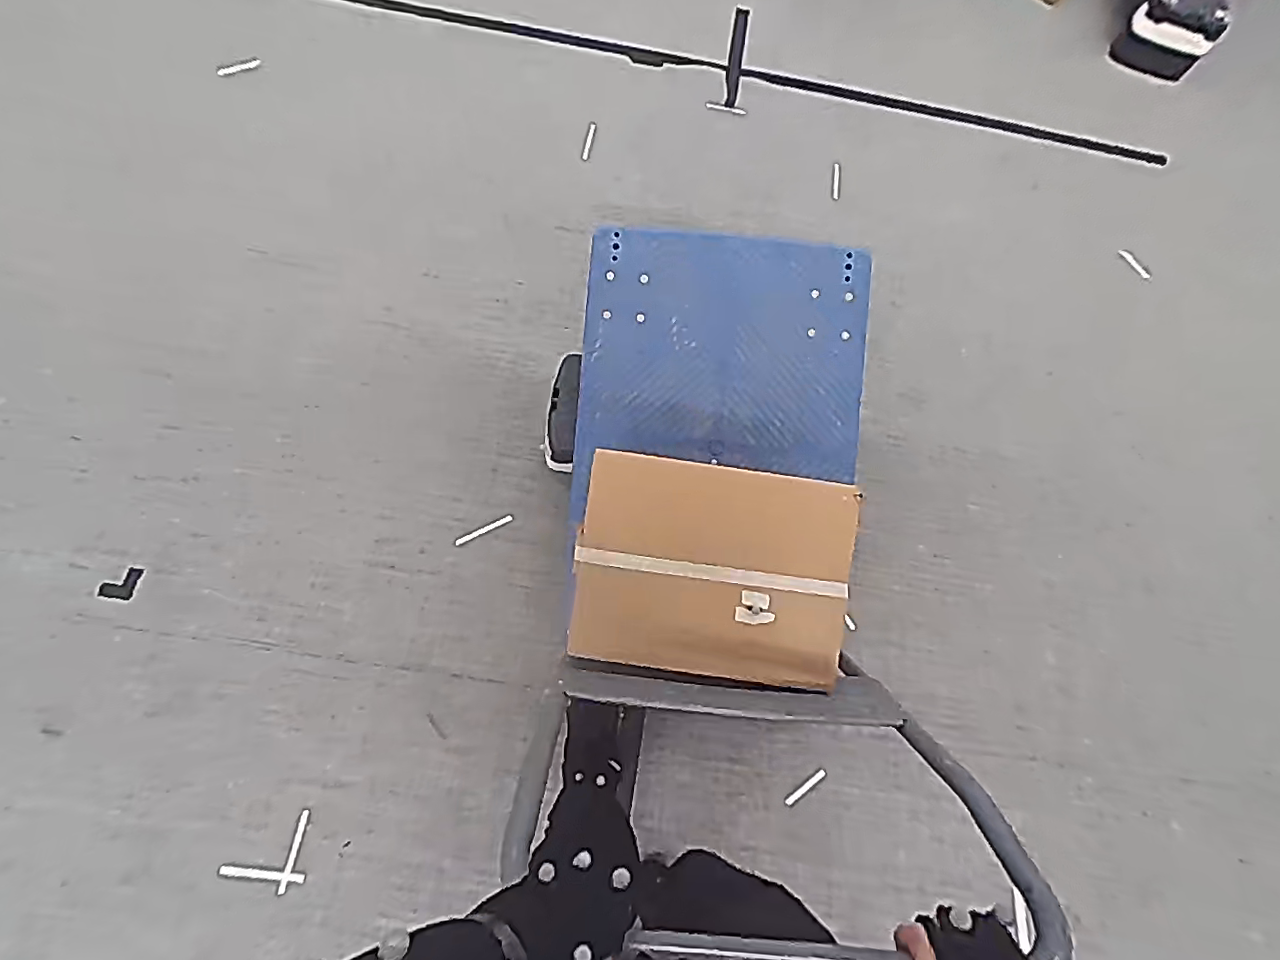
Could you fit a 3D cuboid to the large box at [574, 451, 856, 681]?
[{"bbox_3d":[0.108,0.132,0.960,0.408,0.320,0.320,8,90,-2],"label":"large box"}]
